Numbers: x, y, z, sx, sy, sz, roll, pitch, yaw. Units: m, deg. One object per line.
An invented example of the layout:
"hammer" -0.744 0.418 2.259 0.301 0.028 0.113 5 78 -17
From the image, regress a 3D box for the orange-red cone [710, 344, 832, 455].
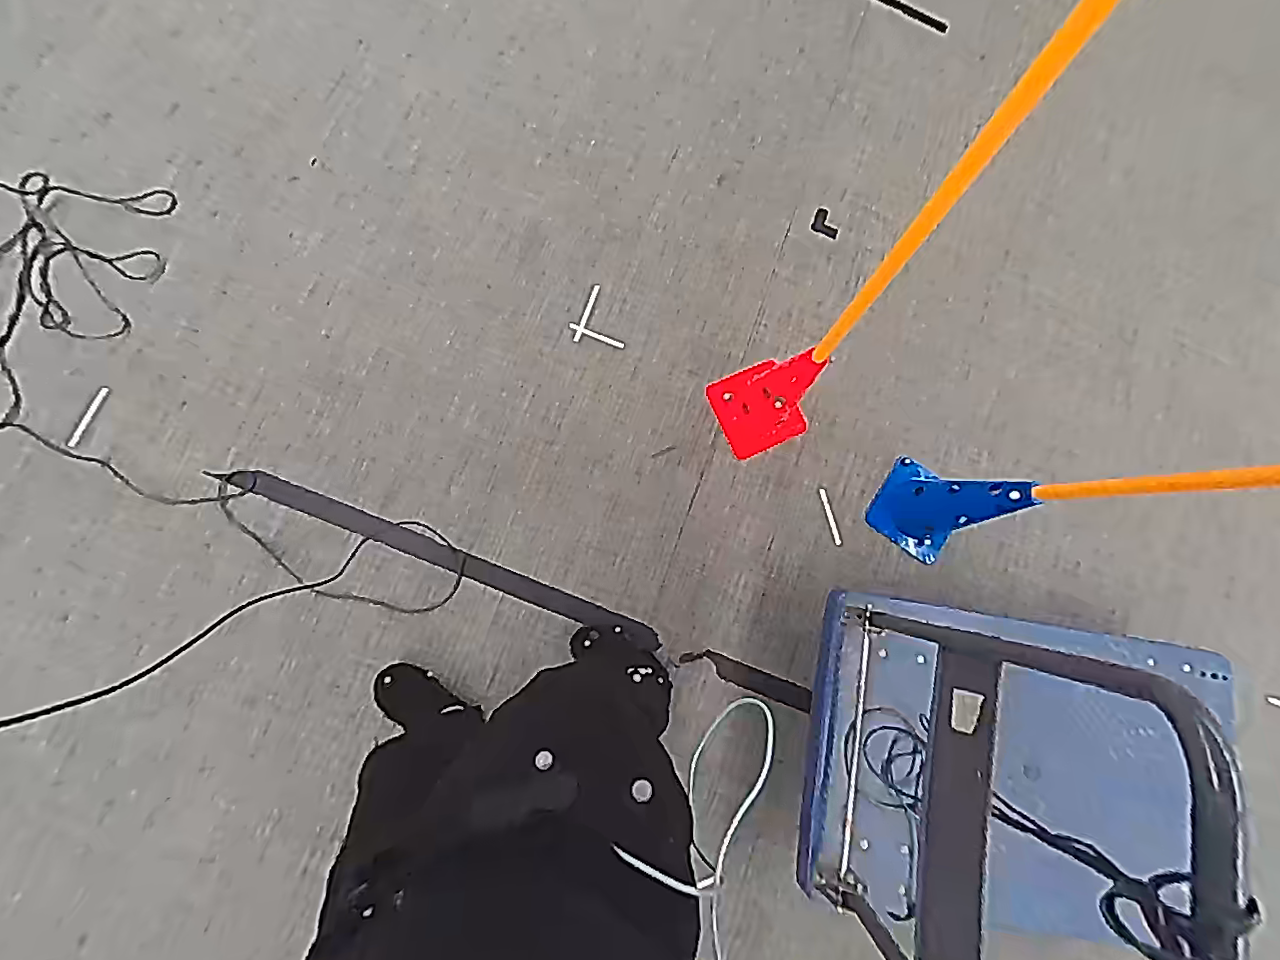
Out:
"orange-red cone" 0.301 -0.197 1.113 0.198 0.360 0.199 -22 86 -8

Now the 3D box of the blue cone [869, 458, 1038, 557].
"blue cone" 0.675 0.041 1.131 0.192 0.380 0.193 37 80 1
